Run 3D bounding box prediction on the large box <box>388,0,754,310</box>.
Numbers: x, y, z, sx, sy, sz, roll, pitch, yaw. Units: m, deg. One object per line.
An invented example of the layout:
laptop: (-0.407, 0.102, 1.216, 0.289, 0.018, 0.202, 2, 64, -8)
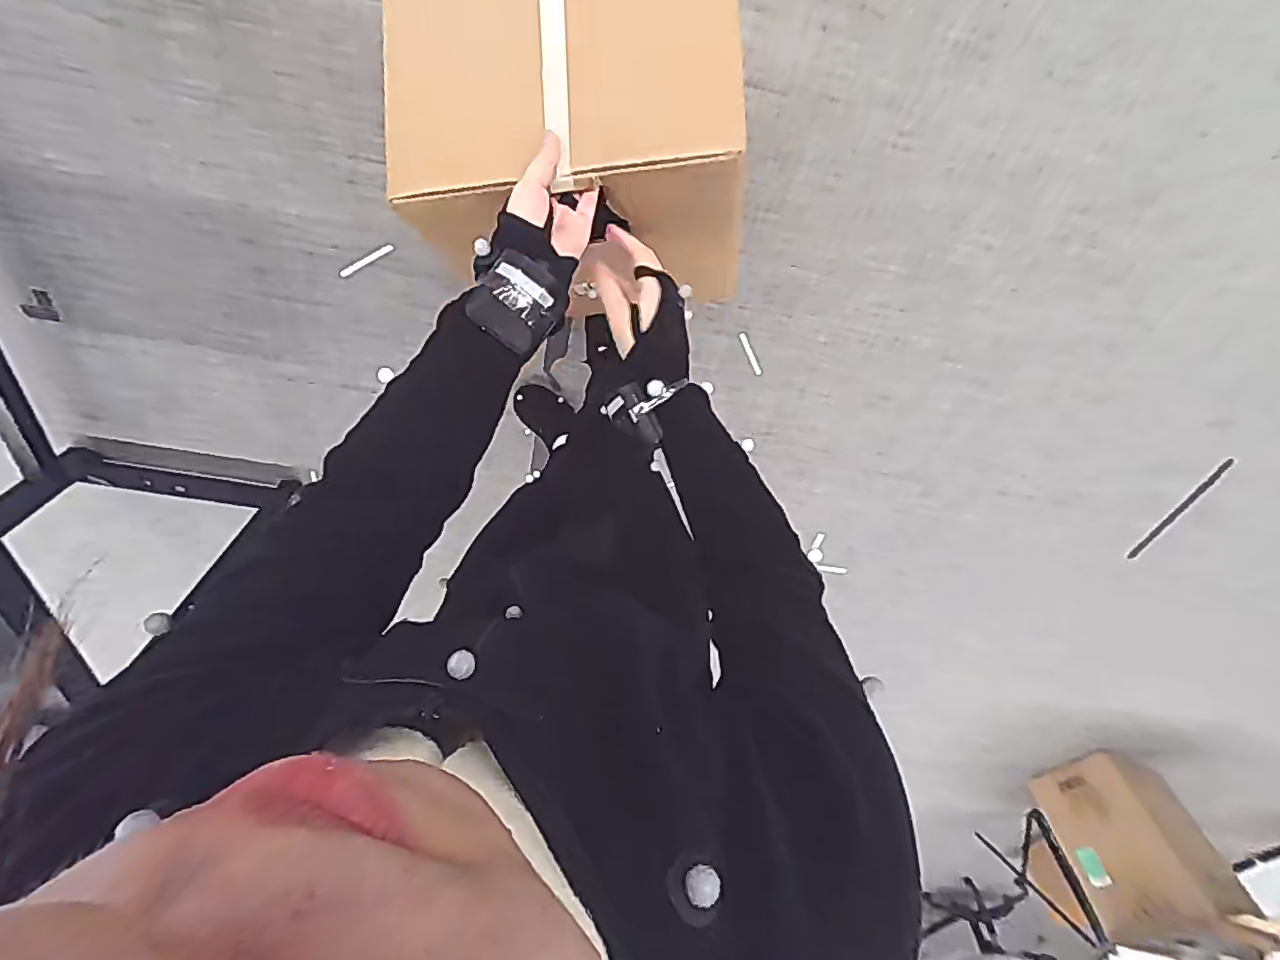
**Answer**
large box: (-0.053, -0.448, 0.603, 0.320, 0.320, 0.408, -3, 88, 7)
